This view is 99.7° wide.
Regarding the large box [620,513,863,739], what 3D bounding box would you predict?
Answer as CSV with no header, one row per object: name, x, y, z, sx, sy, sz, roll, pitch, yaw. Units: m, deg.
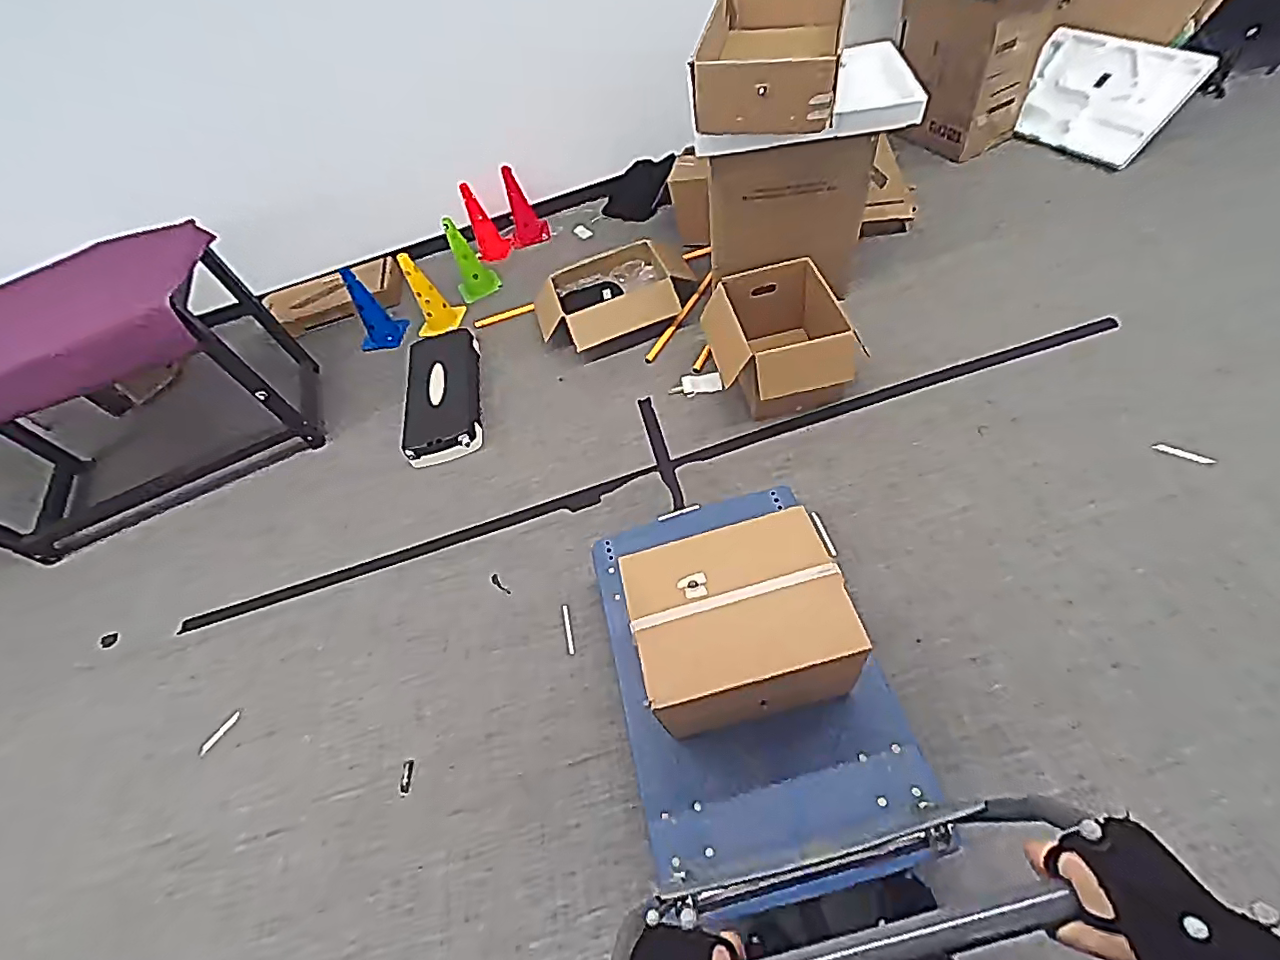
large box,0.209,0.327,1.174,0.408,0.320,0.320,-17,52,2
